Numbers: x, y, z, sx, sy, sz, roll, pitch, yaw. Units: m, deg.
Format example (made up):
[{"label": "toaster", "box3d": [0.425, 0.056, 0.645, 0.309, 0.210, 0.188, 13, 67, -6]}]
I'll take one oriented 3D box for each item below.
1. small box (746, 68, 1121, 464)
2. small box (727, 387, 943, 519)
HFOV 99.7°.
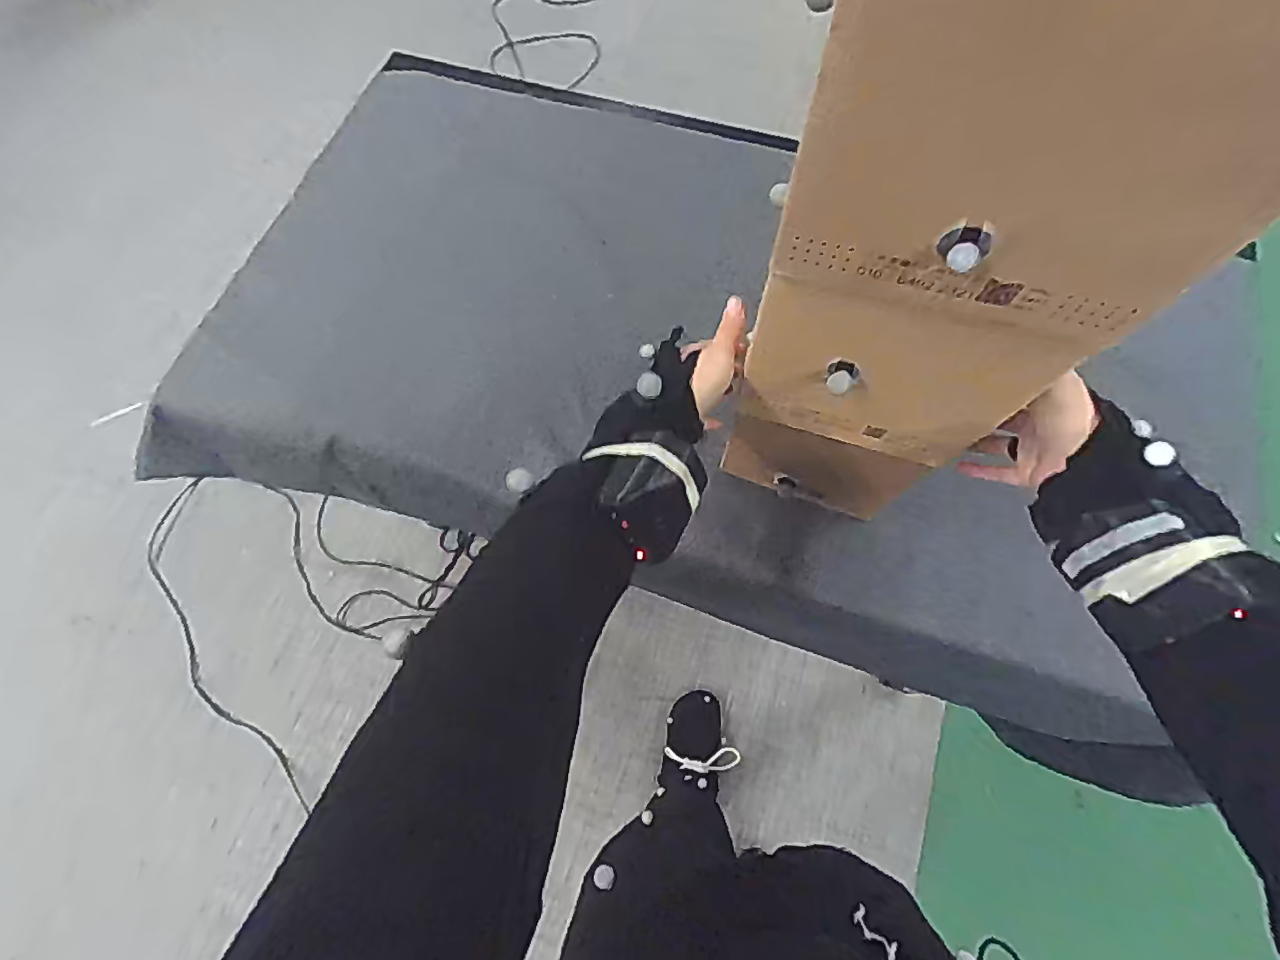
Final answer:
[{"label": "small box", "box3d": [0.179, -0.133, 0.377, 0.168, 0.176, 0.179, 18, 71, 9]}, {"label": "small box", "box3d": [0.192, -0.084, 0.531, 0.168, 0.176, 0.179, 19, 73, 9]}]
